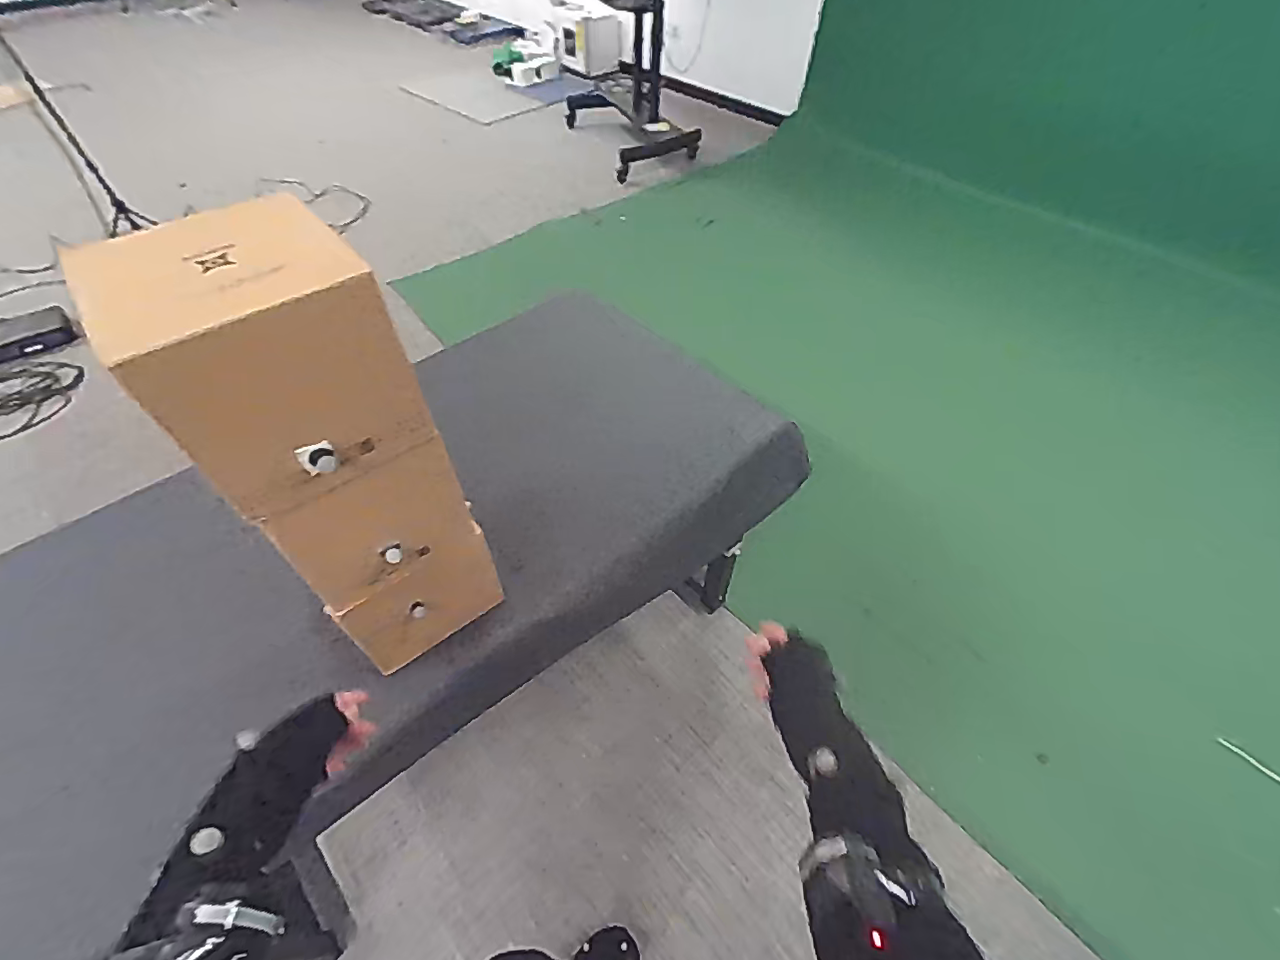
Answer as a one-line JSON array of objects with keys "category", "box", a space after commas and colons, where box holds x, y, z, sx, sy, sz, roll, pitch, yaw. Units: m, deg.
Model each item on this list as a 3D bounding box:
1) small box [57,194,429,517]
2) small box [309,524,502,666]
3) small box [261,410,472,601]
[{"category": "small box", "box": [-0.308, -0.102, 0.449, 0.168, 0.176, 0.179, -35, 59, -24]}, {"category": "small box", "box": [-0.305, 0.106, 0.699, 0.179, 0.176, 0.168, -32, 57, -24]}, {"category": "small box", "box": [-0.308, -0.006, 0.579, 0.168, 0.176, 0.179, -35, 56, -26]}]
